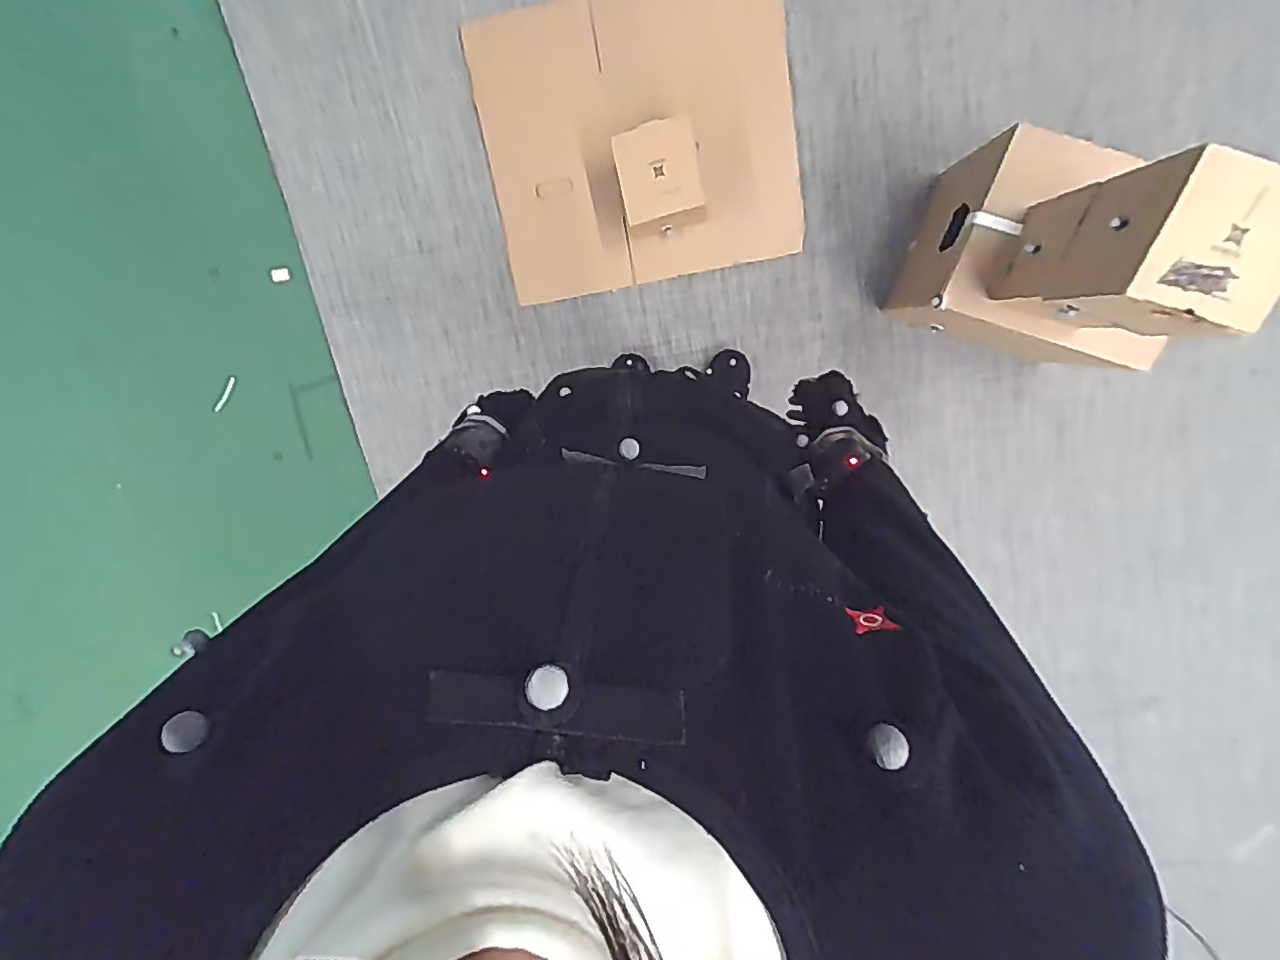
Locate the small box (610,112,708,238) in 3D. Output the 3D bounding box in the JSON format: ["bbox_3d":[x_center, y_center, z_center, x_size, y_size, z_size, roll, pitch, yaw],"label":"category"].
[{"bbox_3d":[0.048,-0.646,1.167,0.168,0.176,0.179,-12,104,13],"label":"small box"}]

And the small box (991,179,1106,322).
[{"bbox_3d":[0.718,-0.357,0.874,0.179,0.176,0.168,14,105,1],"label":"small box"}]

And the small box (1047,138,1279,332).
[{"bbox_3d":[0.693,-0.306,0.716,0.168,0.176,0.179,19,105,0],"label":"small box"}]
